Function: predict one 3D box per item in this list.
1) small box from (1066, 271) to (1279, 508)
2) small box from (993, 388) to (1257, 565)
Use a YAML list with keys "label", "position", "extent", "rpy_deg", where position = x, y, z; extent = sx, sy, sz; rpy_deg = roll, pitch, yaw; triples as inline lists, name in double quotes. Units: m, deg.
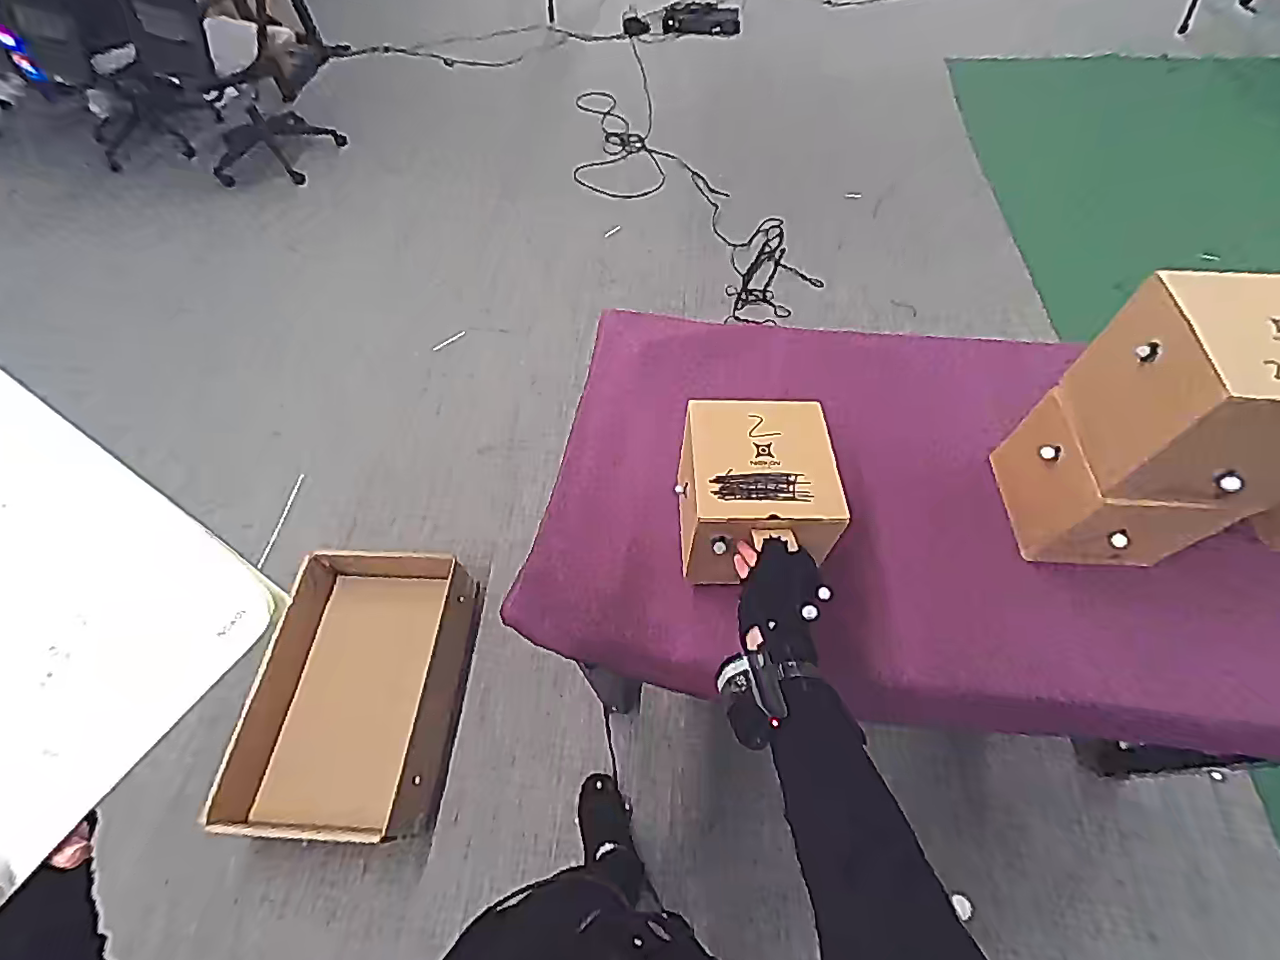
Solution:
- label: "small box"
  position: [0.600, -0.092, 0.570]
  extent: [0.168, 0.176, 0.179]
  rpy_deg: [5, 58, 6]
- label: "small box"
  position: [0.604, 0.001, 0.707]
  extent: [0.168, 0.176, 0.179]
  rpy_deg: [2, 58, 5]
